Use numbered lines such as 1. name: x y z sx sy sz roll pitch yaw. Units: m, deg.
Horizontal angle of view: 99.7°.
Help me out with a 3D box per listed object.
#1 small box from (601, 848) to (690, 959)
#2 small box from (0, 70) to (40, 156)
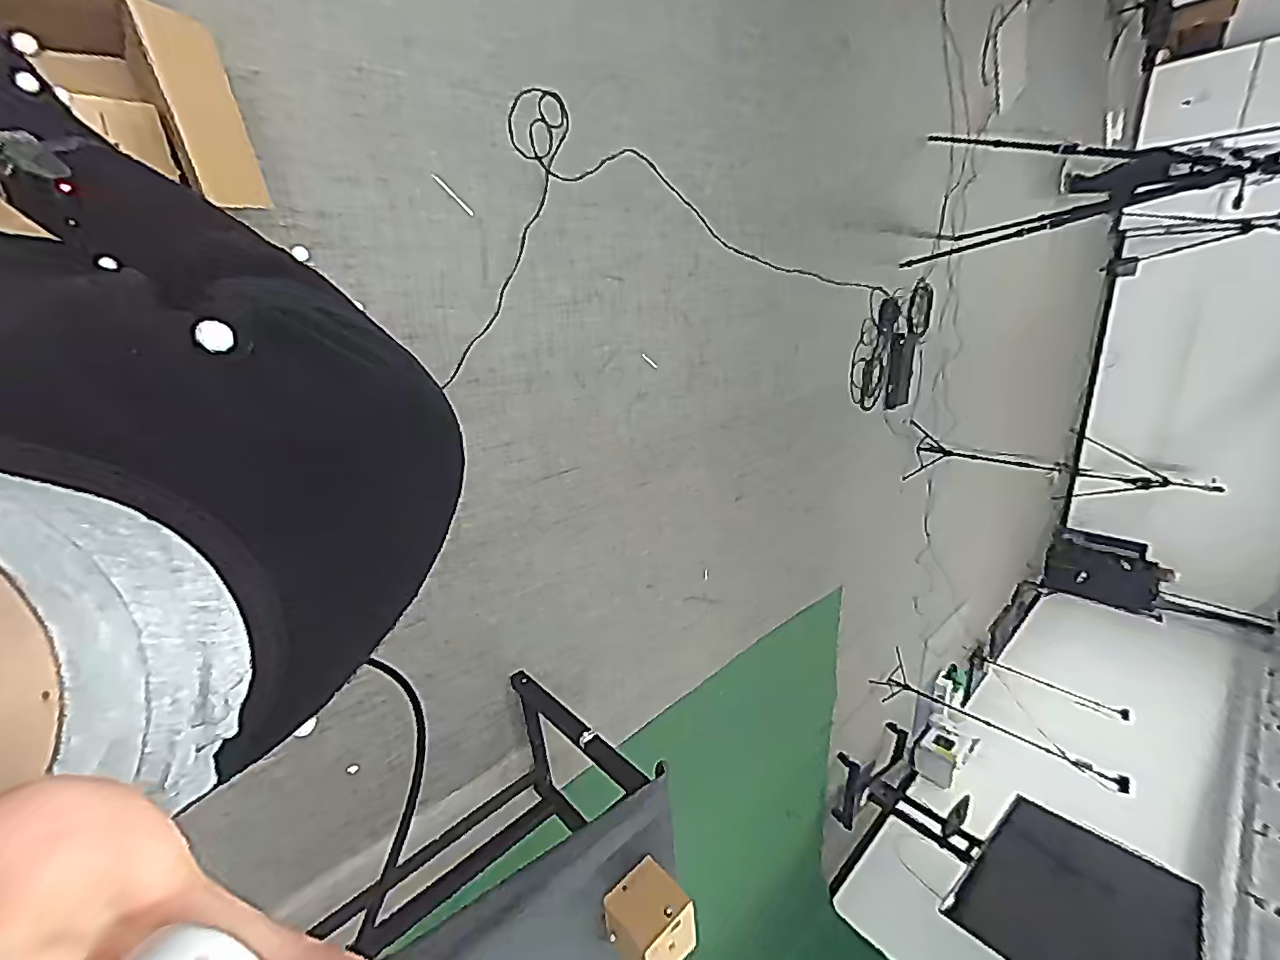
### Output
1. small box: 0.014 1.132 1.427 0.168 0.176 0.179 -23 118 -38
2. small box: -0.677 -0.382 0.445 0.168 0.176 0.179 -31 116 -26
